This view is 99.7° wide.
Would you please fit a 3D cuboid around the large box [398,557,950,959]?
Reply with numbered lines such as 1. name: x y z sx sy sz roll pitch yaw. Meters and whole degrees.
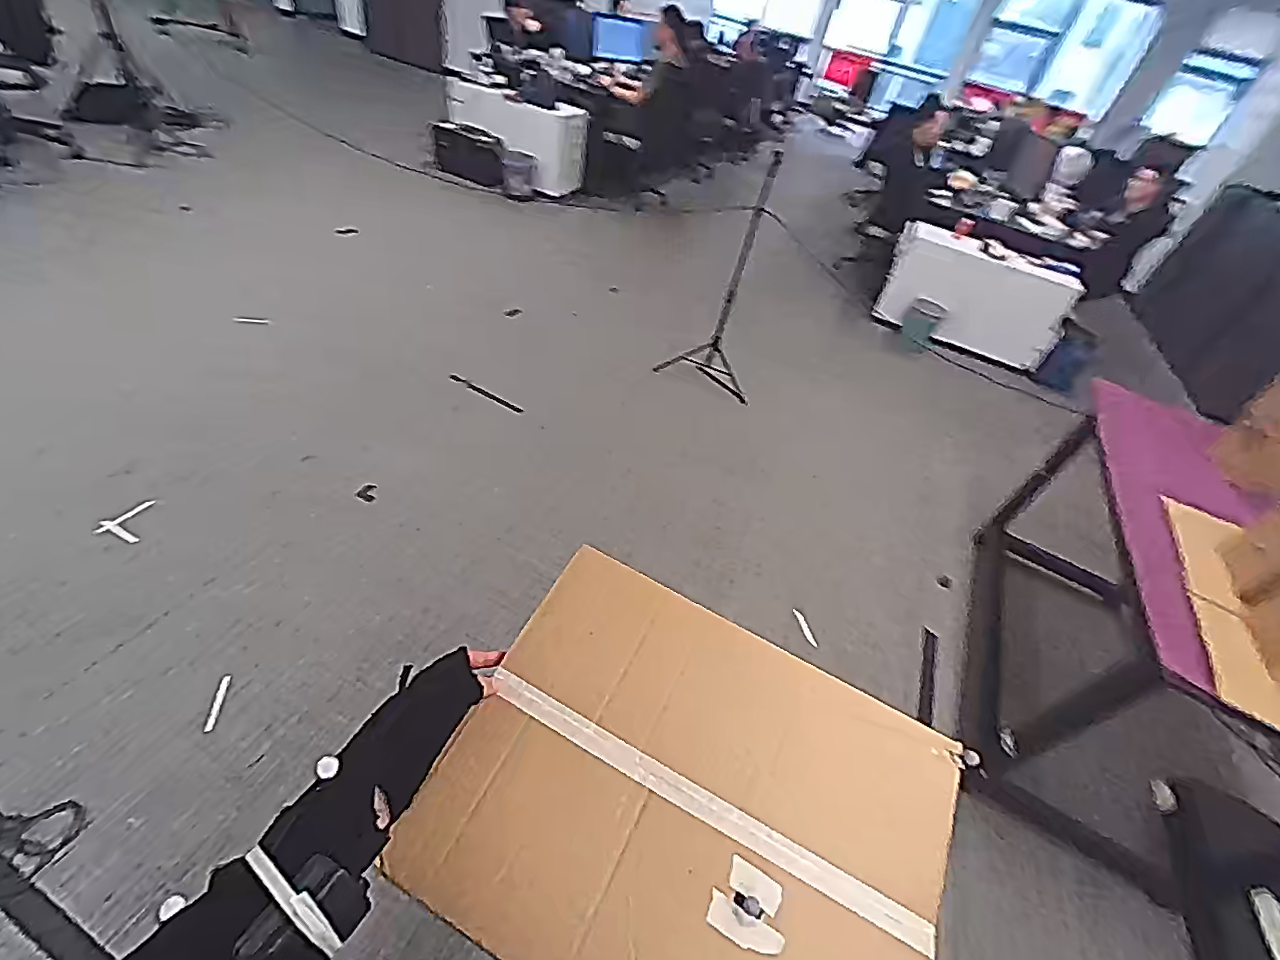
1. large box: 0.035 0.354 0.587 0.408 0.320 0.320 27 58 10
